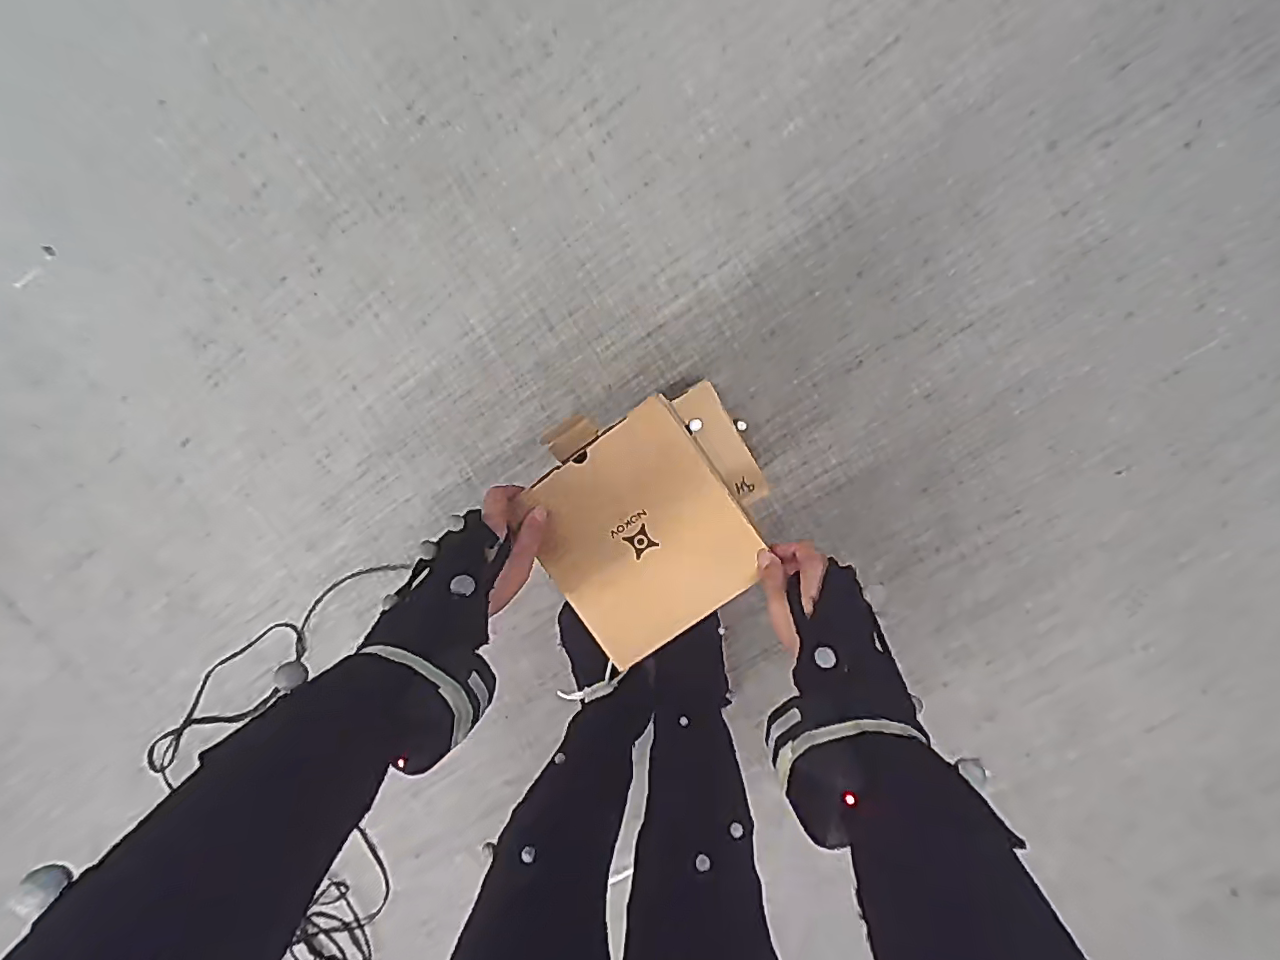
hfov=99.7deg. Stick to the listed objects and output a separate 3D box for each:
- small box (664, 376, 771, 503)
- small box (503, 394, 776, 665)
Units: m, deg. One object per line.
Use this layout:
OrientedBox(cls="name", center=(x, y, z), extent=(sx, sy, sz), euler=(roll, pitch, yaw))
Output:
OrientedBox(cls="small box", center=(0.072, -0.035, 0.803), extent=(0.168, 0.176, 0.179), euler=(-29, 94, 10))
OrientedBox(cls="small box", center=(0.007, 0.035, 0.523), extent=(0.168, 0.176, 0.179), euler=(-36, 91, 8))
